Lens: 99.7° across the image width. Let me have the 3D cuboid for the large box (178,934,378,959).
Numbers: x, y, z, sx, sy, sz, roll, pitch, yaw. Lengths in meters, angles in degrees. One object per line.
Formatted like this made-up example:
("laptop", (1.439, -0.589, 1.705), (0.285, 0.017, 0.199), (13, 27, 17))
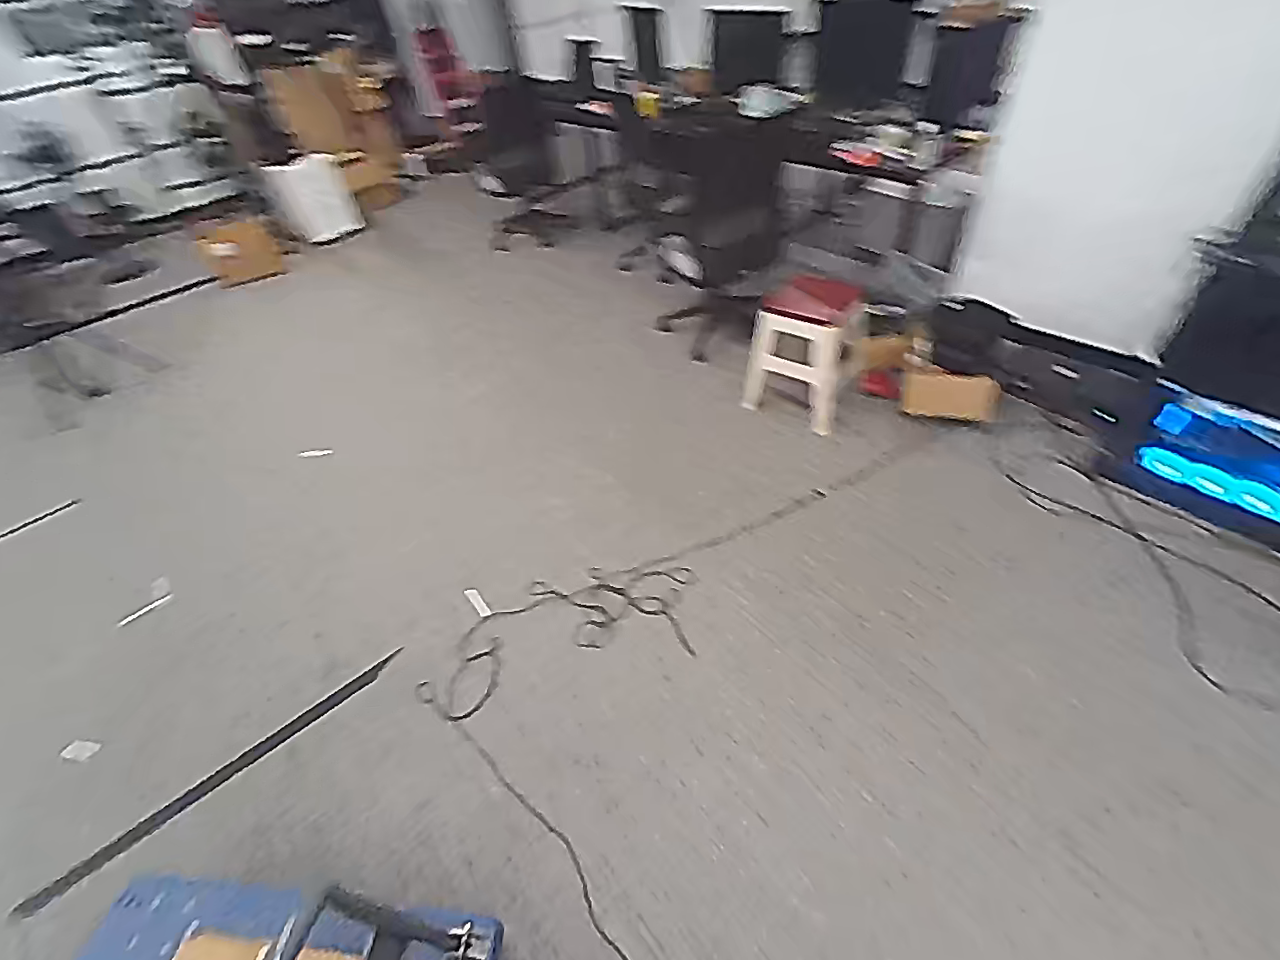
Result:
("large box", (-0.572, 0.971, 0.803), (0.320, 0.320, 0.408), (1, 44, 9))
